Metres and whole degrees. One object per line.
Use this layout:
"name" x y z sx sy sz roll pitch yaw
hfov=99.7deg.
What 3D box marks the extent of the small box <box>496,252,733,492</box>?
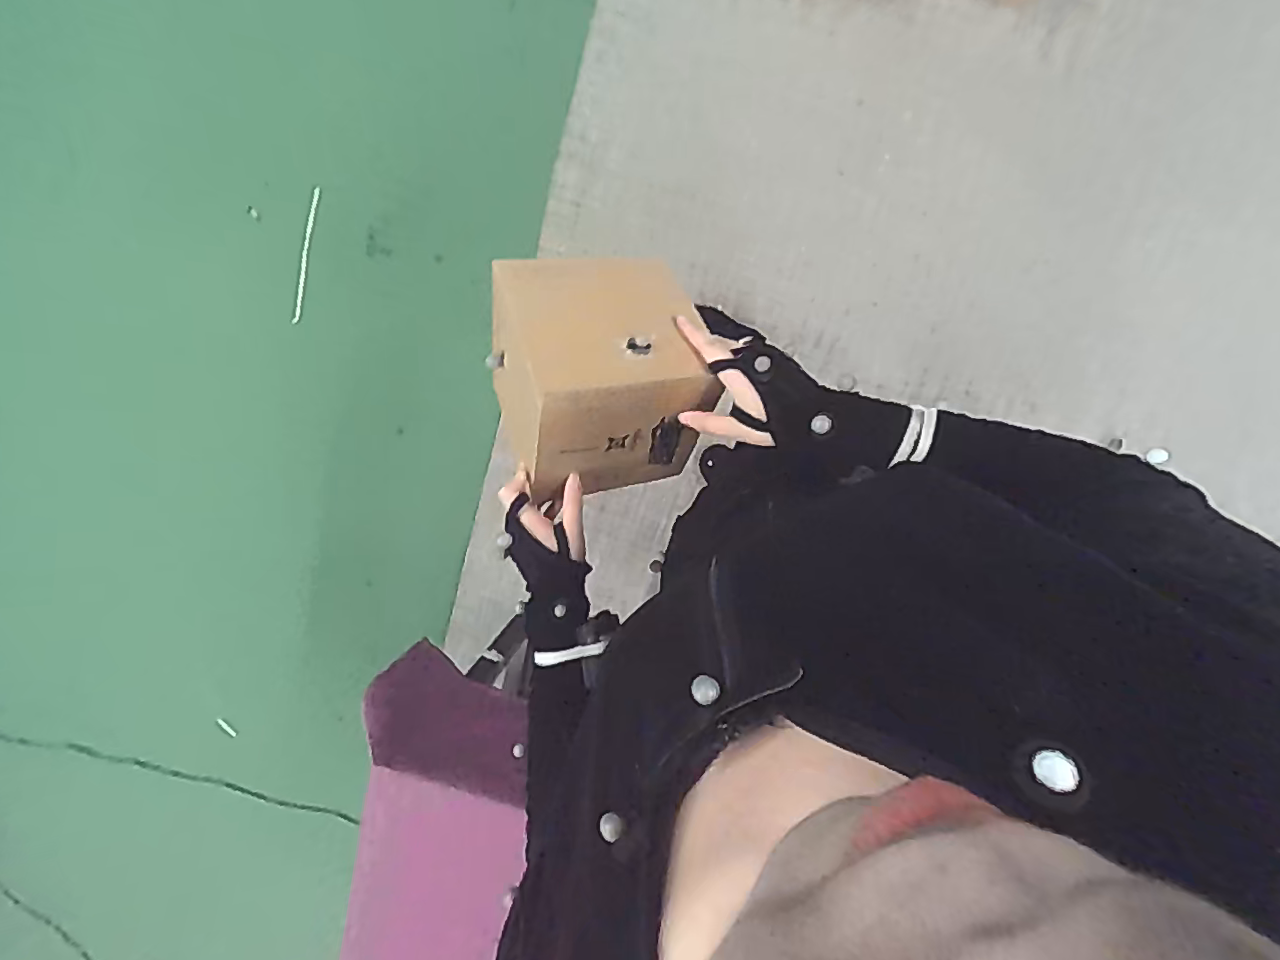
"small box" -0.040 -0.111 0.549 0.179 0.168 0.176 -8 59 -21
